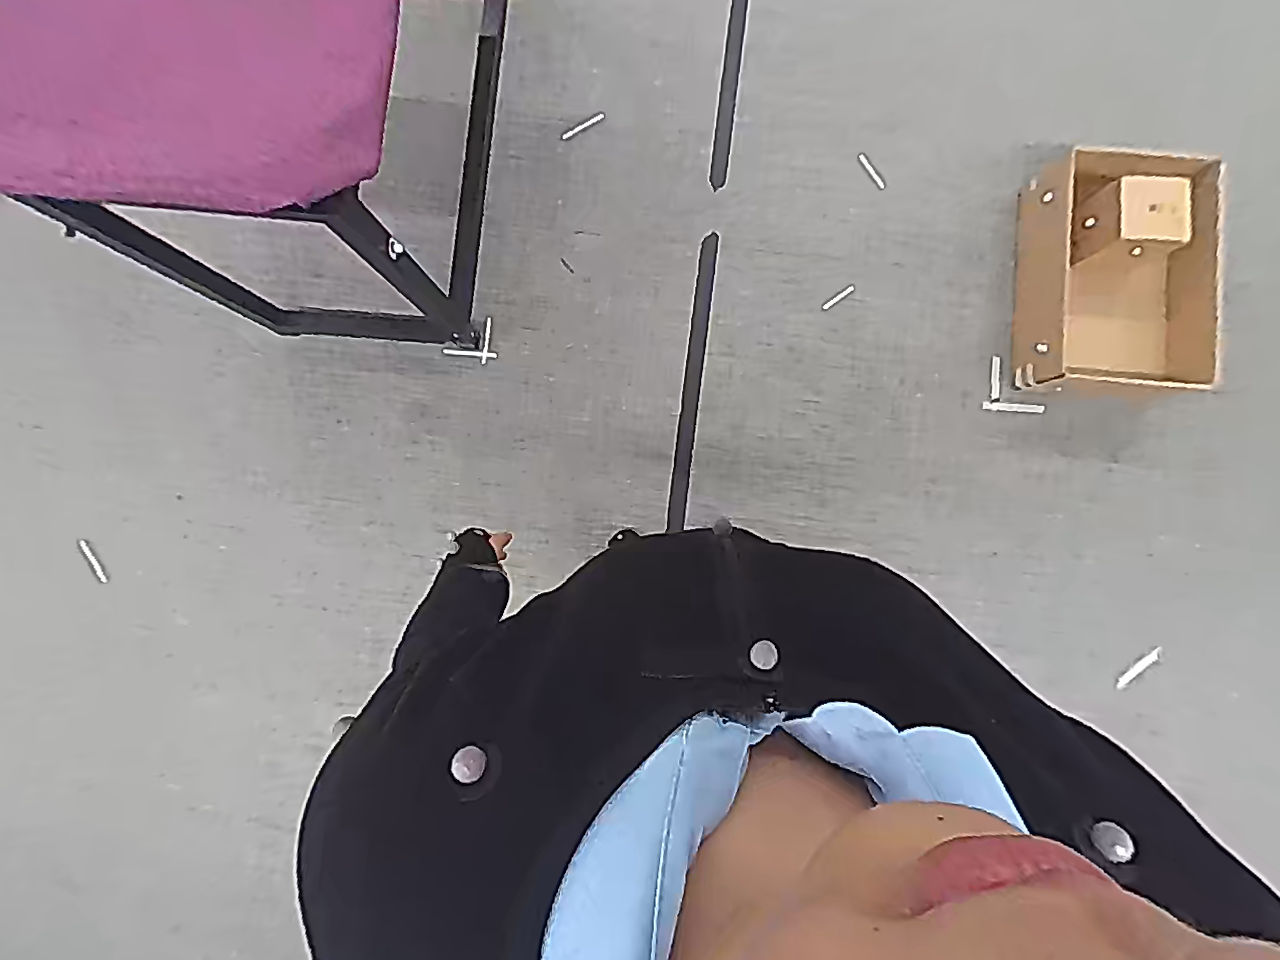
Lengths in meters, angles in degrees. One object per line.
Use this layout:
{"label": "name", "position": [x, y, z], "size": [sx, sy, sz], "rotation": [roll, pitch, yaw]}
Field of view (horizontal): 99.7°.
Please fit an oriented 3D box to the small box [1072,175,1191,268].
{"label": "small box", "position": [1.296, -0.679, 1.437], "size": [0.179, 0.176, 0.168], "rotation": [3, 87, 1]}
